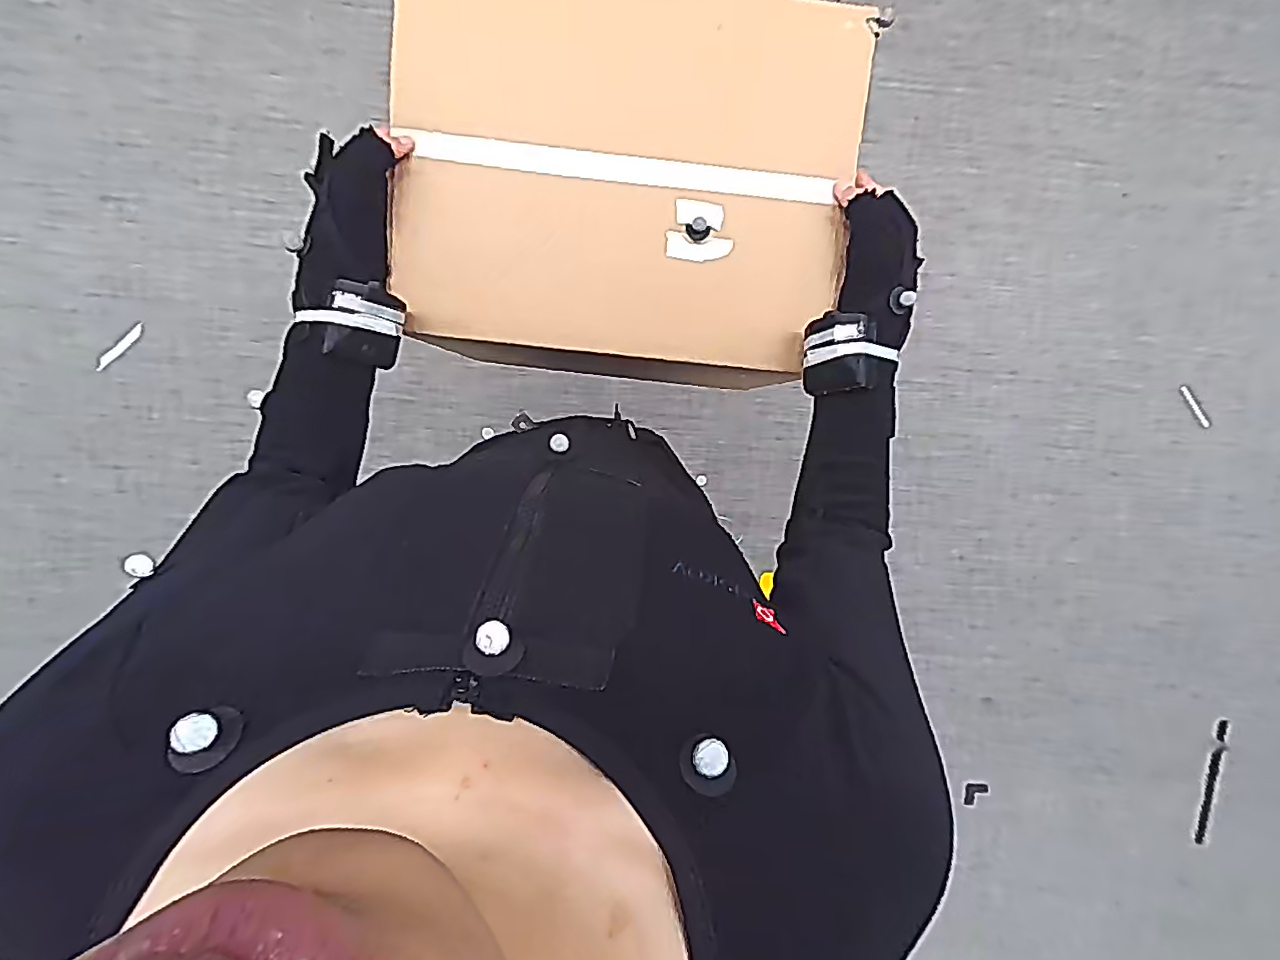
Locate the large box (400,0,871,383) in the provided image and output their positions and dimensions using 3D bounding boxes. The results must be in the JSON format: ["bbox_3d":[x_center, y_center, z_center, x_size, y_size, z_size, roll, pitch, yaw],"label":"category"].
[{"bbox_3d":[-0.015,-0.291,0.624,0.408,0.320,0.320,5,97,-4],"label":"large box"}]
